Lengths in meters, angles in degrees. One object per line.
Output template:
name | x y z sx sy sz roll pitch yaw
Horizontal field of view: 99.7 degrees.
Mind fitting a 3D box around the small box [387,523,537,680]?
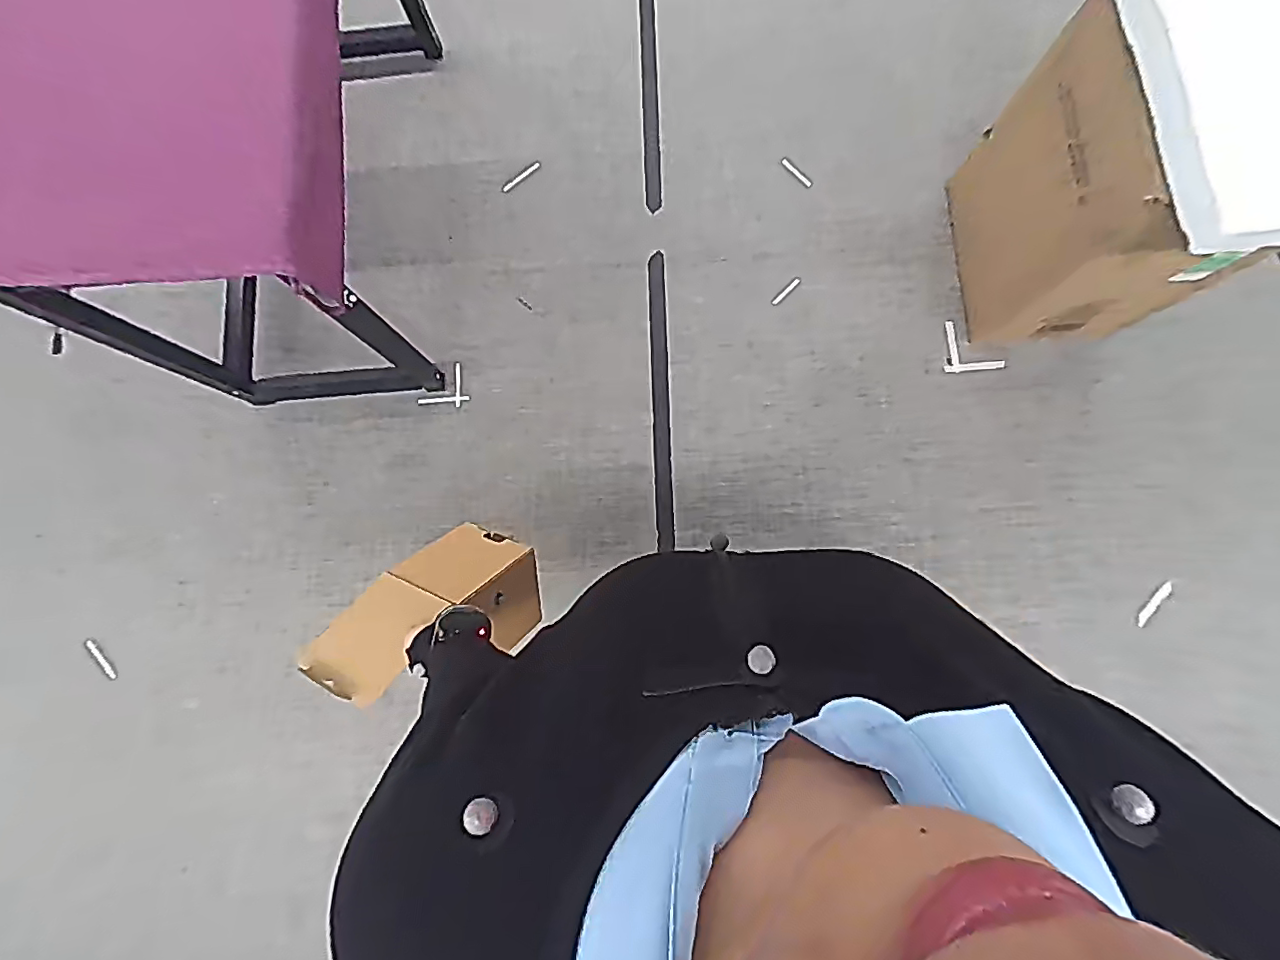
small box | -0.291 0.204 0.924 0.168 0.179 0.176 16 121 27
